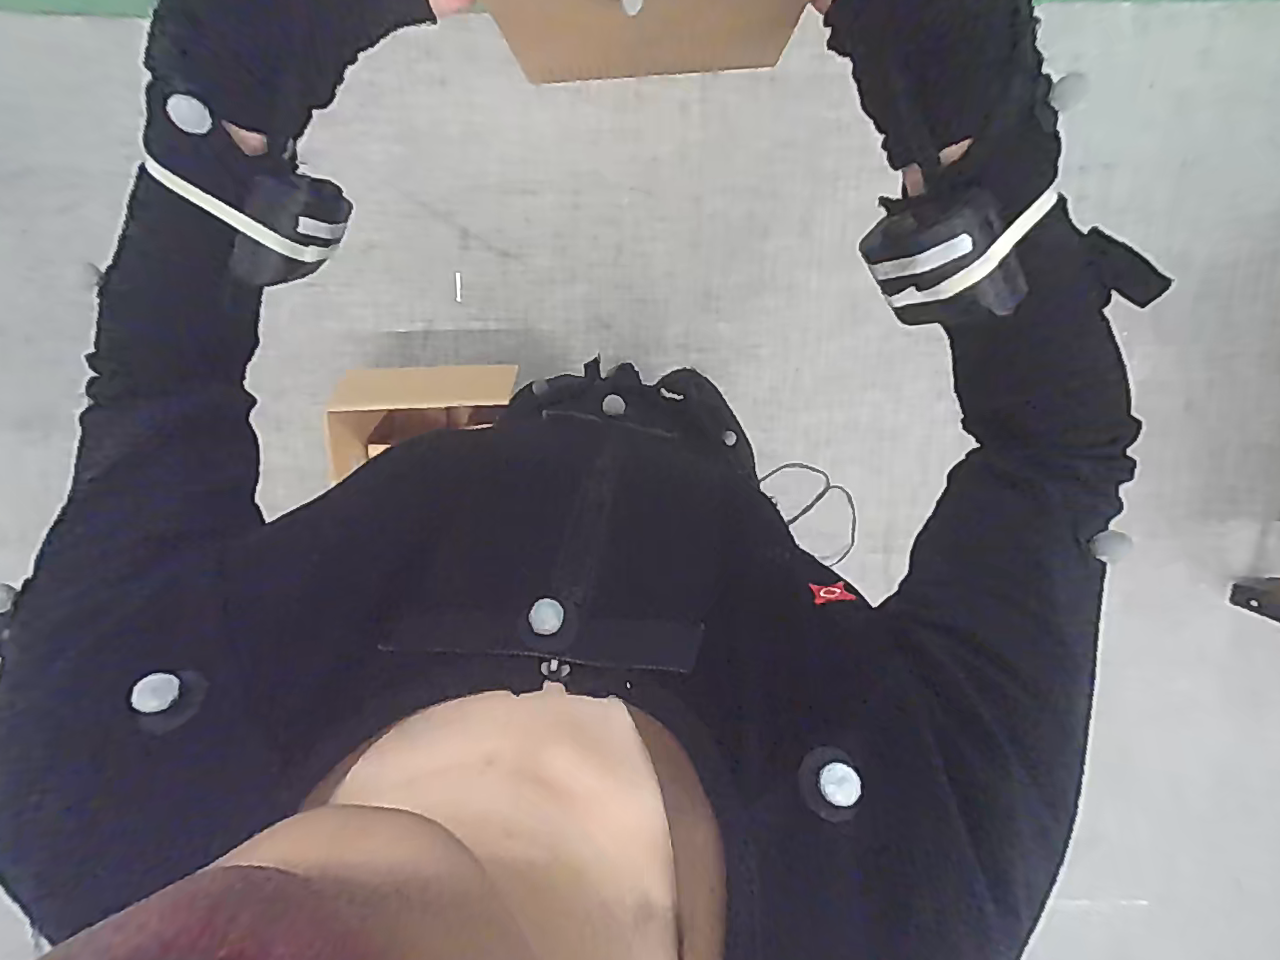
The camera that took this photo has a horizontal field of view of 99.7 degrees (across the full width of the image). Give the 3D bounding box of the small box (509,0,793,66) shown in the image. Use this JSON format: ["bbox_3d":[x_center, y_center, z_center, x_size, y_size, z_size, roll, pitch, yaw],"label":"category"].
[{"bbox_3d":[0.005,-0.345,0.281,0.179,0.176,0.168,-3,109,2],"label":"small box"}]
